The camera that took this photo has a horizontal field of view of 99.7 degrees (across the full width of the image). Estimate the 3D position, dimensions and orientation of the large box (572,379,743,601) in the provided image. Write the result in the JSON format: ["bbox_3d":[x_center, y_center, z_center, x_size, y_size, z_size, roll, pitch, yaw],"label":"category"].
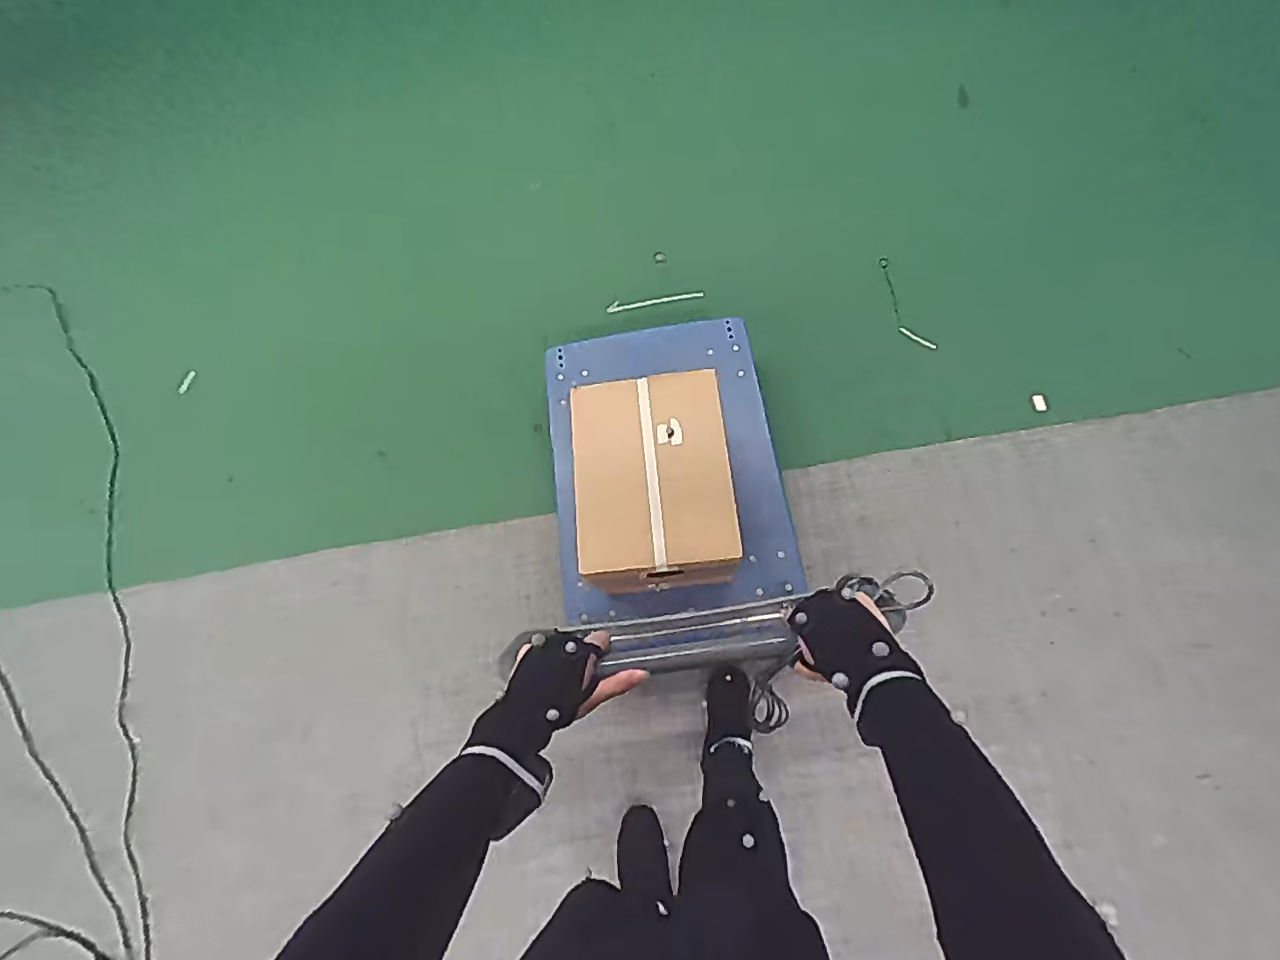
[{"bbox_3d":[0.039,0.040,1.221,0.320,0.320,0.408,-6,70,4],"label":"large box"}]
